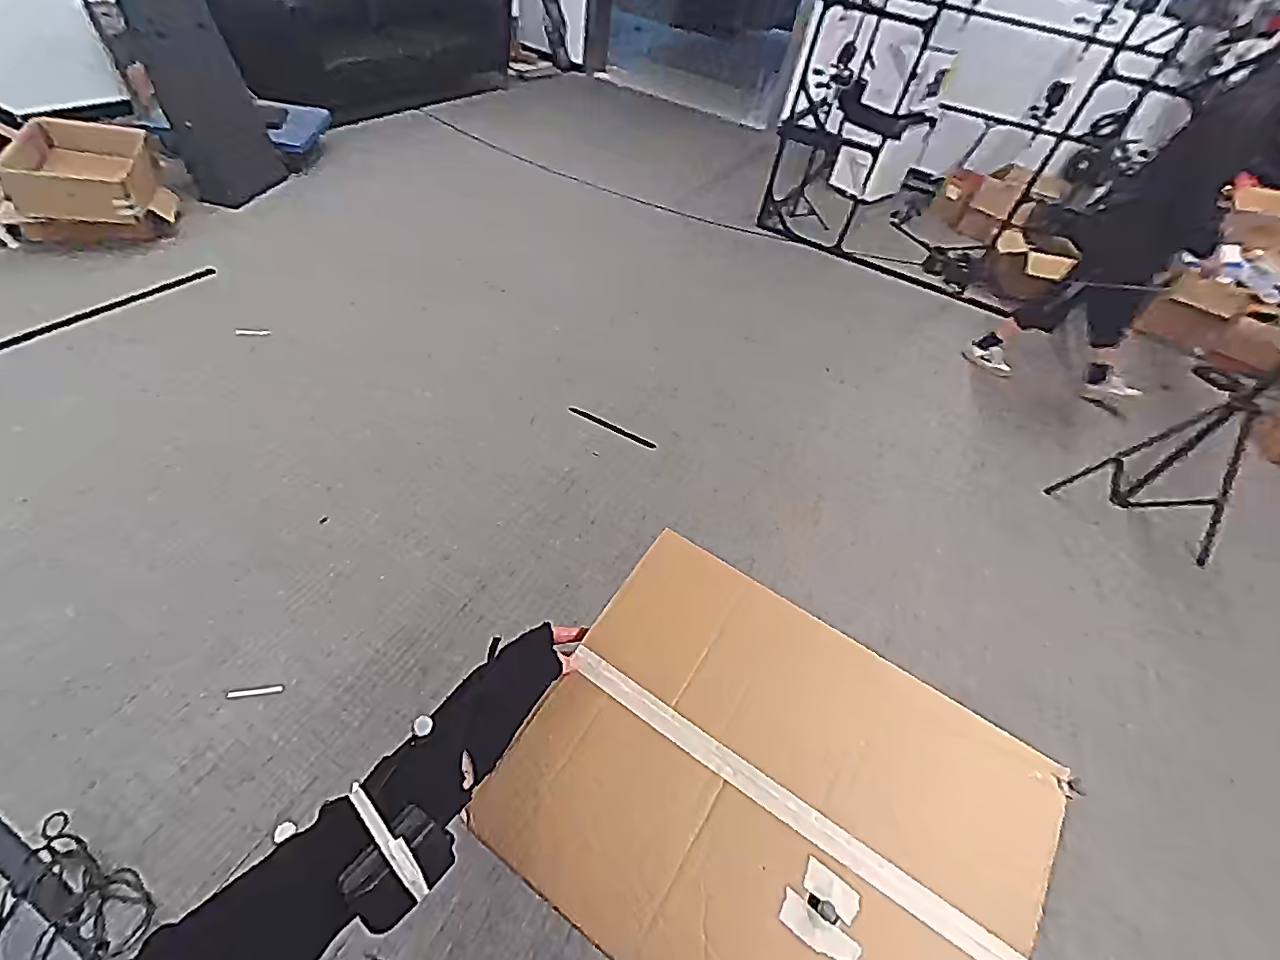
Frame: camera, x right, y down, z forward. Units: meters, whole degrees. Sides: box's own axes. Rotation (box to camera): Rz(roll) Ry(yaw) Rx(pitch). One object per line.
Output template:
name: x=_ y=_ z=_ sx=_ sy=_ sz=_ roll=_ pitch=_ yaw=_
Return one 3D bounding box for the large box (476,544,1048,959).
large box: x=0.105 y=0.343 z=0.584 sx=0.408 sy=0.320 sz=0.320 roll=31 pitch=64 yaw=16
